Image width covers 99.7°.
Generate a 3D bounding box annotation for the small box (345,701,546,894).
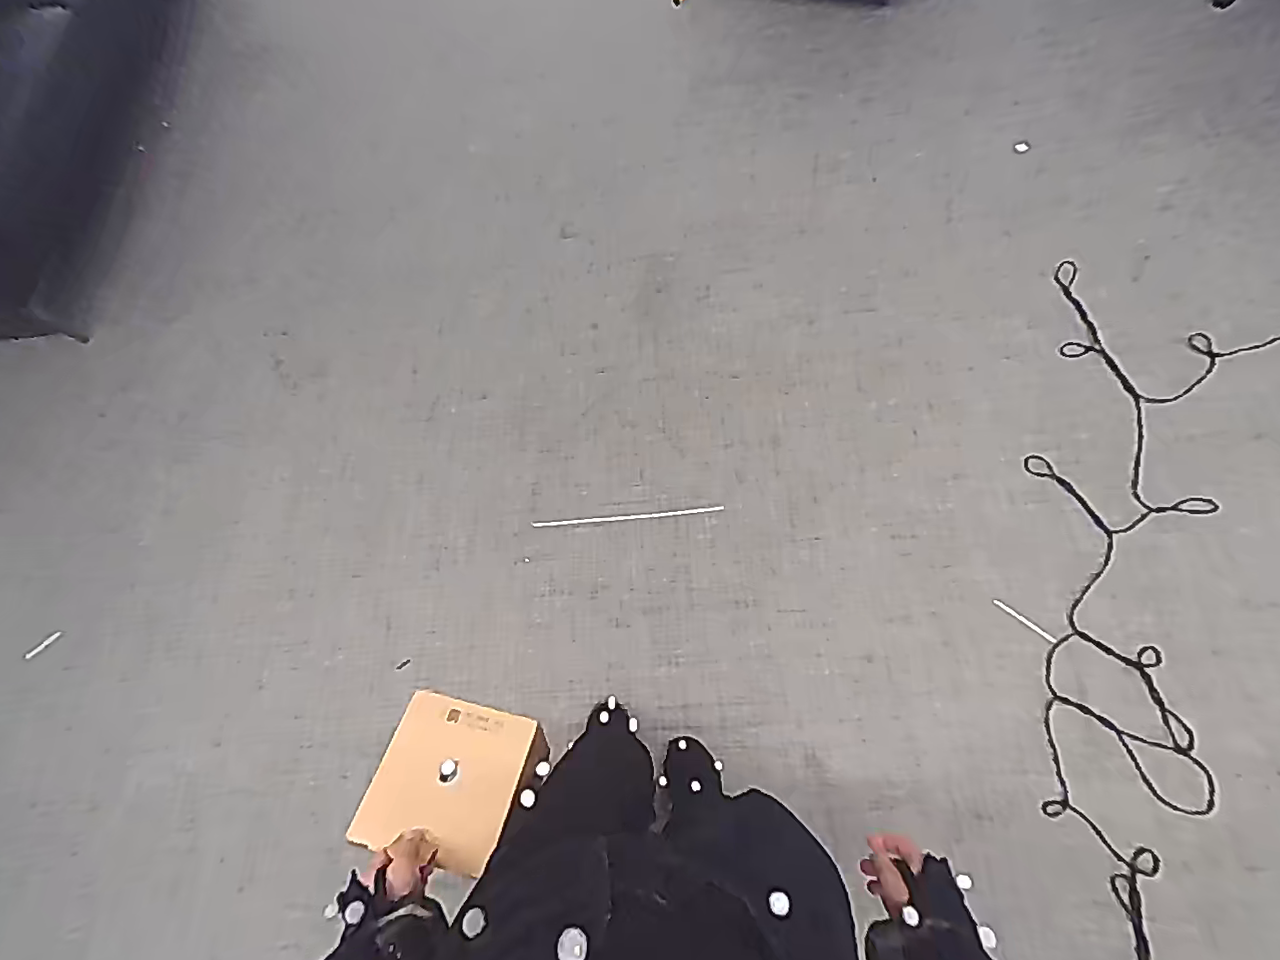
[{"bbox_3d":[-0.229,0.402,0.691,0.168,0.179,0.176,13,52,6],"label":"small box"}]
